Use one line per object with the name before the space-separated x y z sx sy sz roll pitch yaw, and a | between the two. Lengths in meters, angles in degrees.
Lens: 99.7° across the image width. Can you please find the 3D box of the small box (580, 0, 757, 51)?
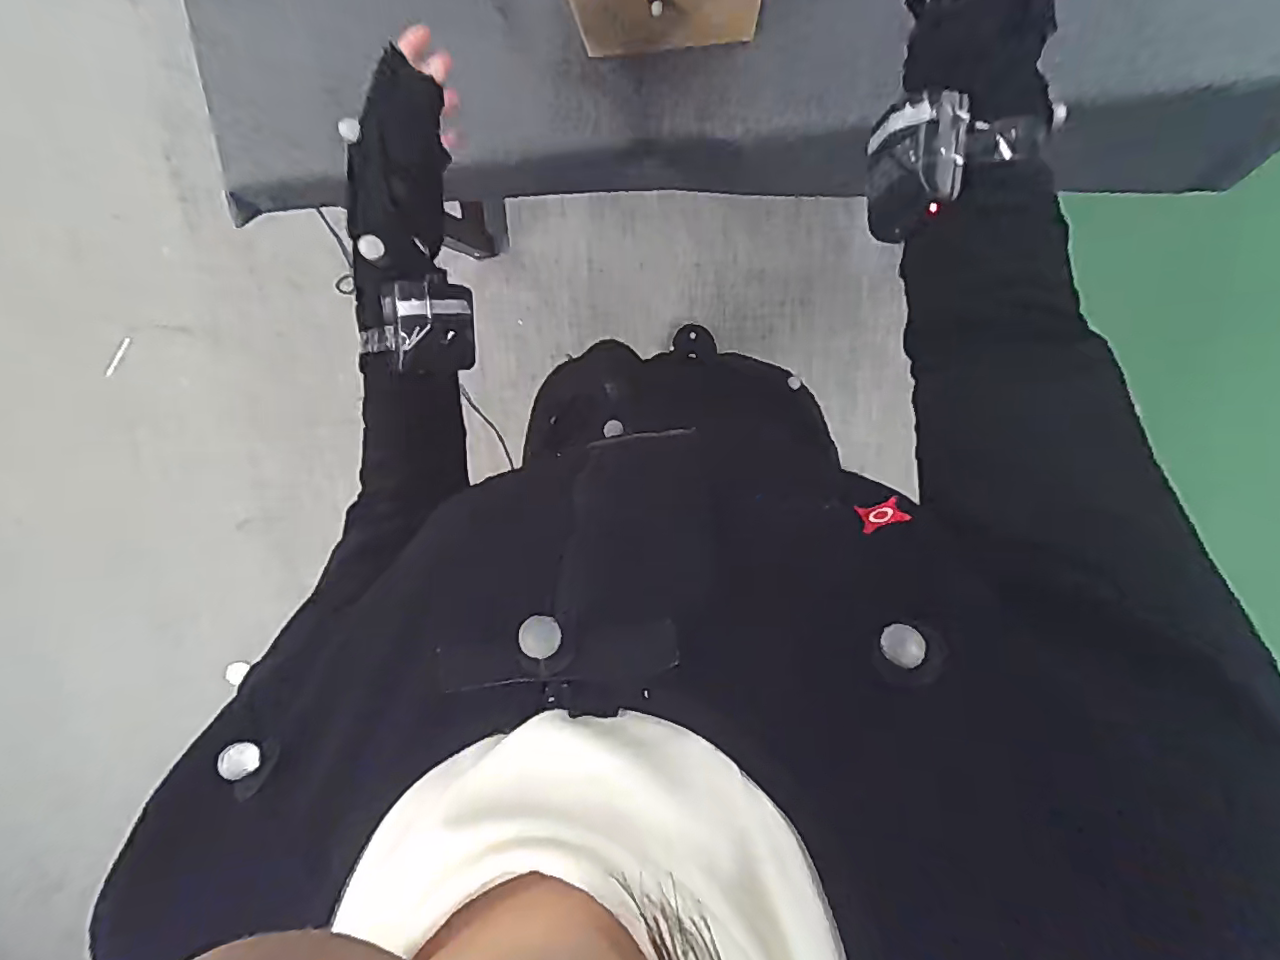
small box | 0.024 -0.520 0.475 0.179 0.176 0.168 -5 105 6
